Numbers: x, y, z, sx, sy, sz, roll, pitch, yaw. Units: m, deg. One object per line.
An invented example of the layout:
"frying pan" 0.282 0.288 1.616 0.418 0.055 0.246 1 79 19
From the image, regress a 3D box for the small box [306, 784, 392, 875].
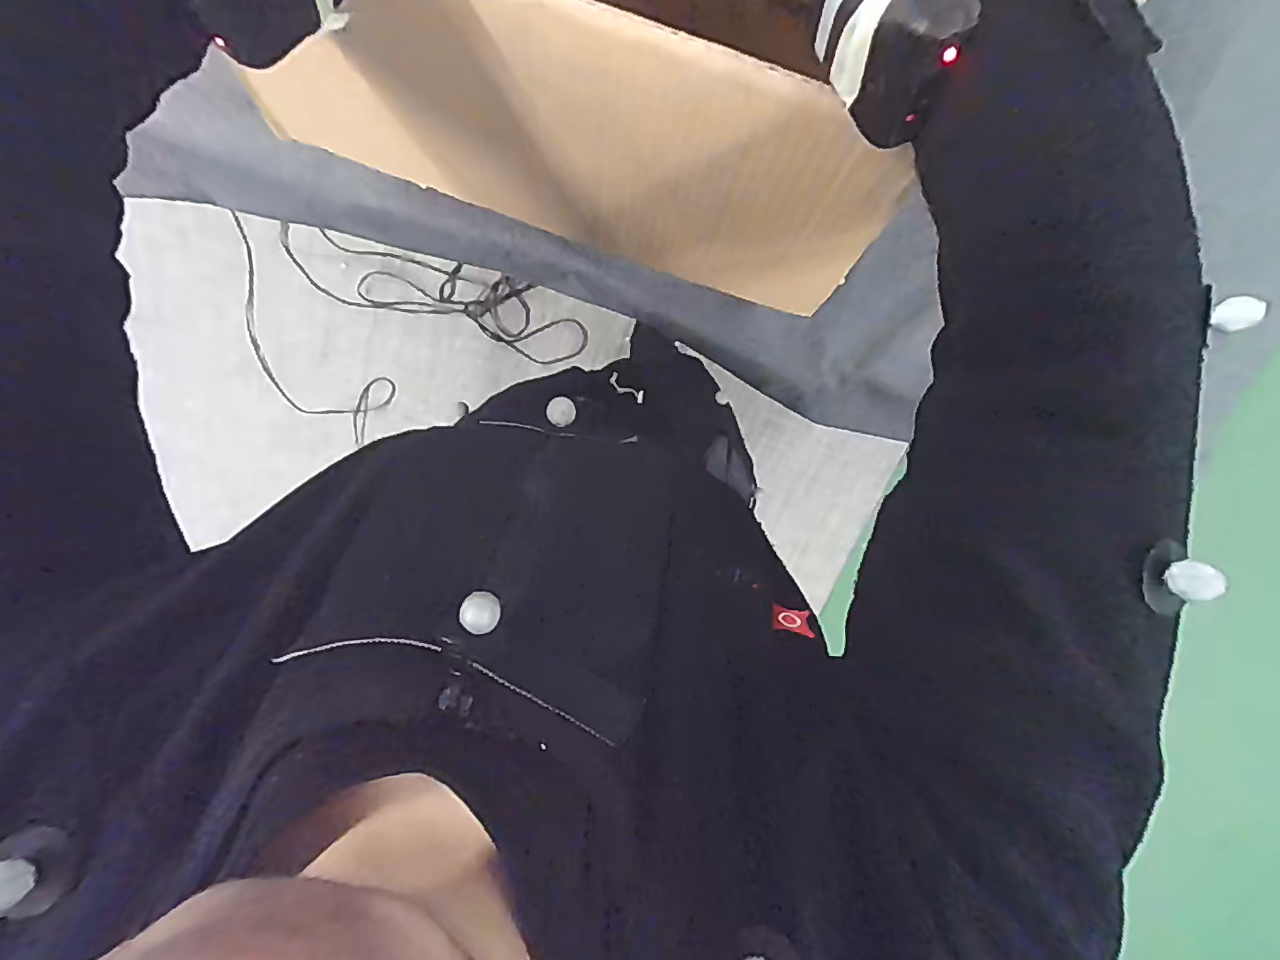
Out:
"small box" -0.950 1.137 1.771 0.179 0.176 0.168 19 109 -3

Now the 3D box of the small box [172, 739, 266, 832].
"small box" -1.349 0.978 1.743 0.168 0.176 0.179 23 110 -3
